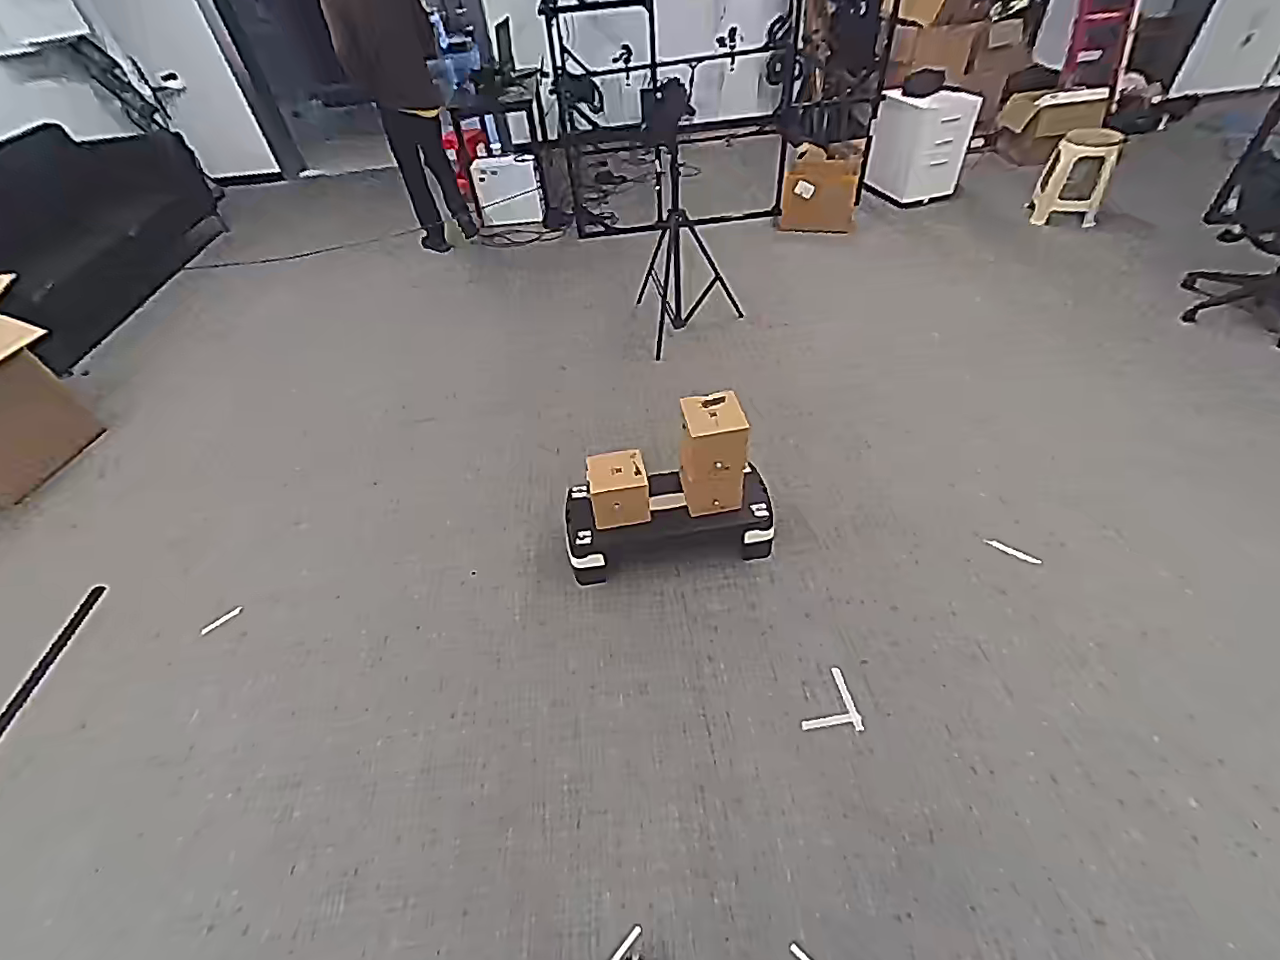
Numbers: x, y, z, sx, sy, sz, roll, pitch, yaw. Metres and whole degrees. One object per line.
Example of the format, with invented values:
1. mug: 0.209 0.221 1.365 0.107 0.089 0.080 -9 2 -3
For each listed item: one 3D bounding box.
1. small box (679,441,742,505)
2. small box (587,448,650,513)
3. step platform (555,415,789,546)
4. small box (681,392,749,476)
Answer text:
1. small box: 0.220 -0.018 1.720 0.168 0.176 0.179 -9 46 -2
2. small box: -0.066 0.026 1.709 0.179 0.176 0.168 -10 46 -3
3. step platform: 0.093 0.003 1.664 0.684 0.204 0.286 -8 45 -3
4. small box: 0.216 -0.136 1.605 0.168 0.176 0.179 -10 46 -2
